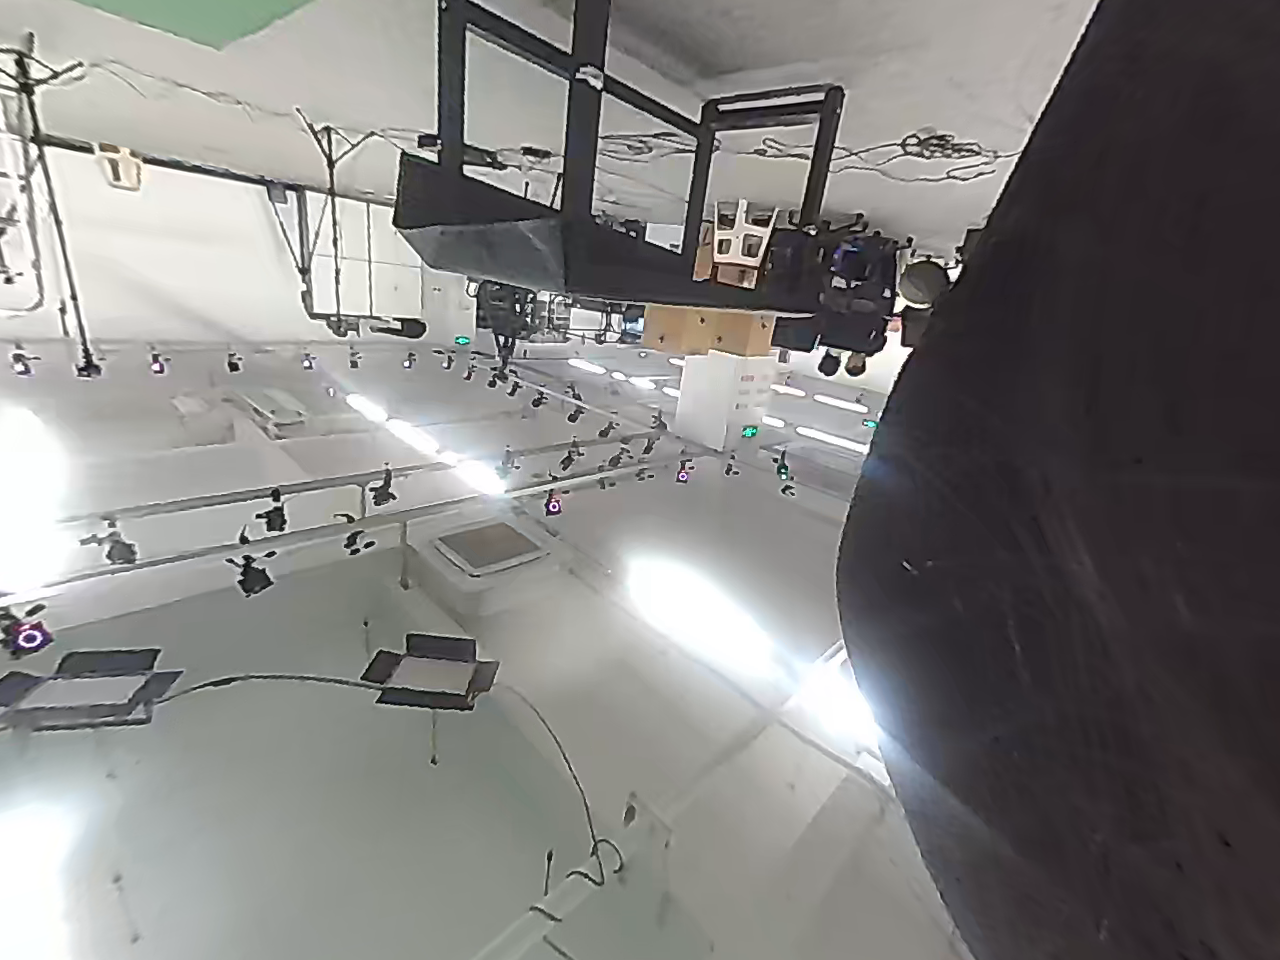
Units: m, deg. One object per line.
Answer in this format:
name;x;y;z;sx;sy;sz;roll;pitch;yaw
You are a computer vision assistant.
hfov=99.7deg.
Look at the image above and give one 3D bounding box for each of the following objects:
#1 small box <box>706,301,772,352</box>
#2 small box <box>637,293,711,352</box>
small box;0.378;-0.590;2.063;0.179;0.176;0.168;24;-154;38
small box;0.116;-0.529;1.802;0.179;0.176;0.168;23;-155;38
